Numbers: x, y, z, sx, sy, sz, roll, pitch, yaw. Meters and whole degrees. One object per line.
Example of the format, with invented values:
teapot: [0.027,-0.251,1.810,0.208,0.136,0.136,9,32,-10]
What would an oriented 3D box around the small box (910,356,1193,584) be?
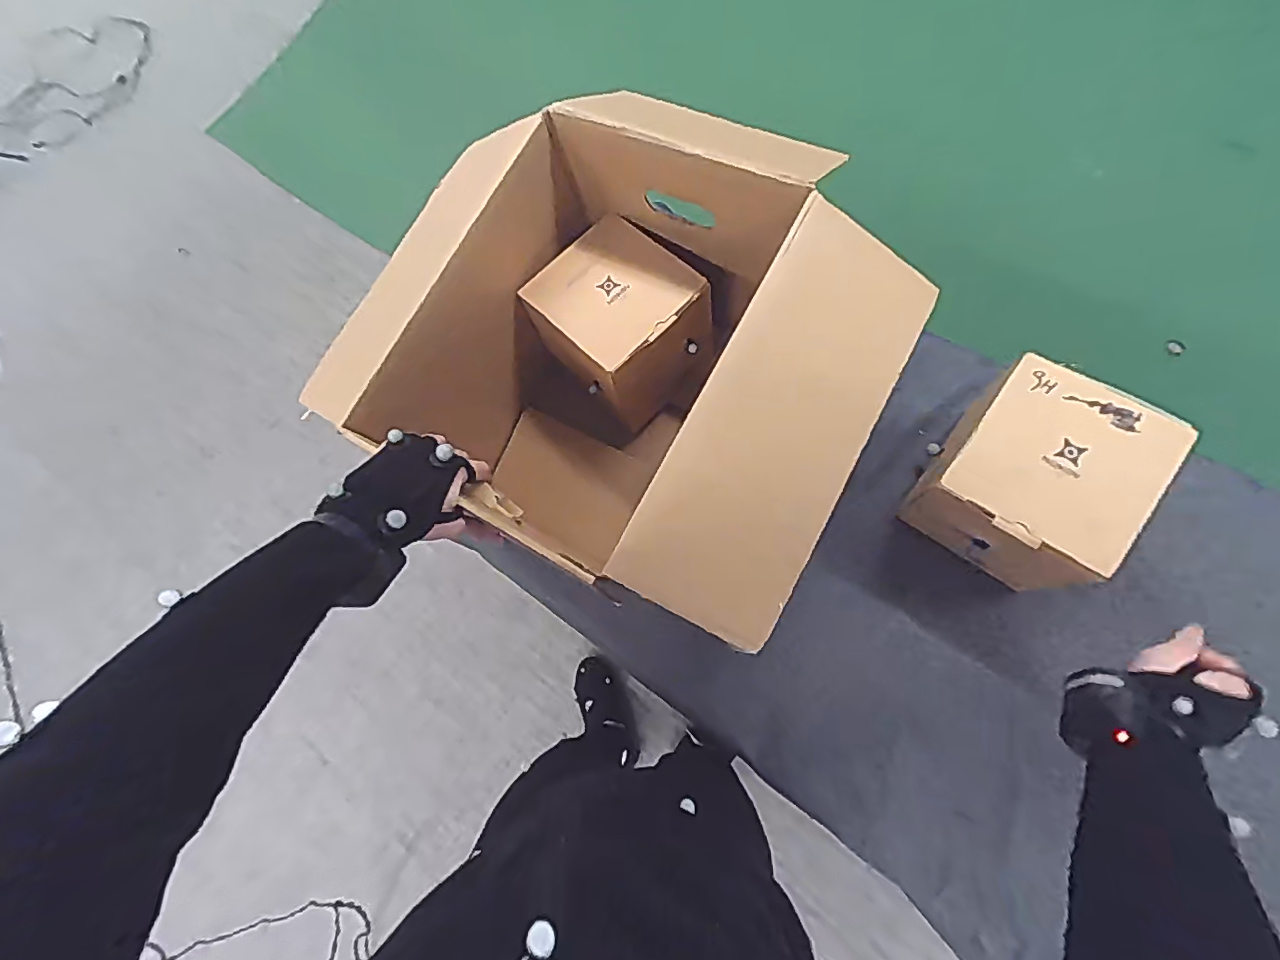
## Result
small box: [0.435,0.001,0.611,0.168,0.176,0.179,36,85,18]
